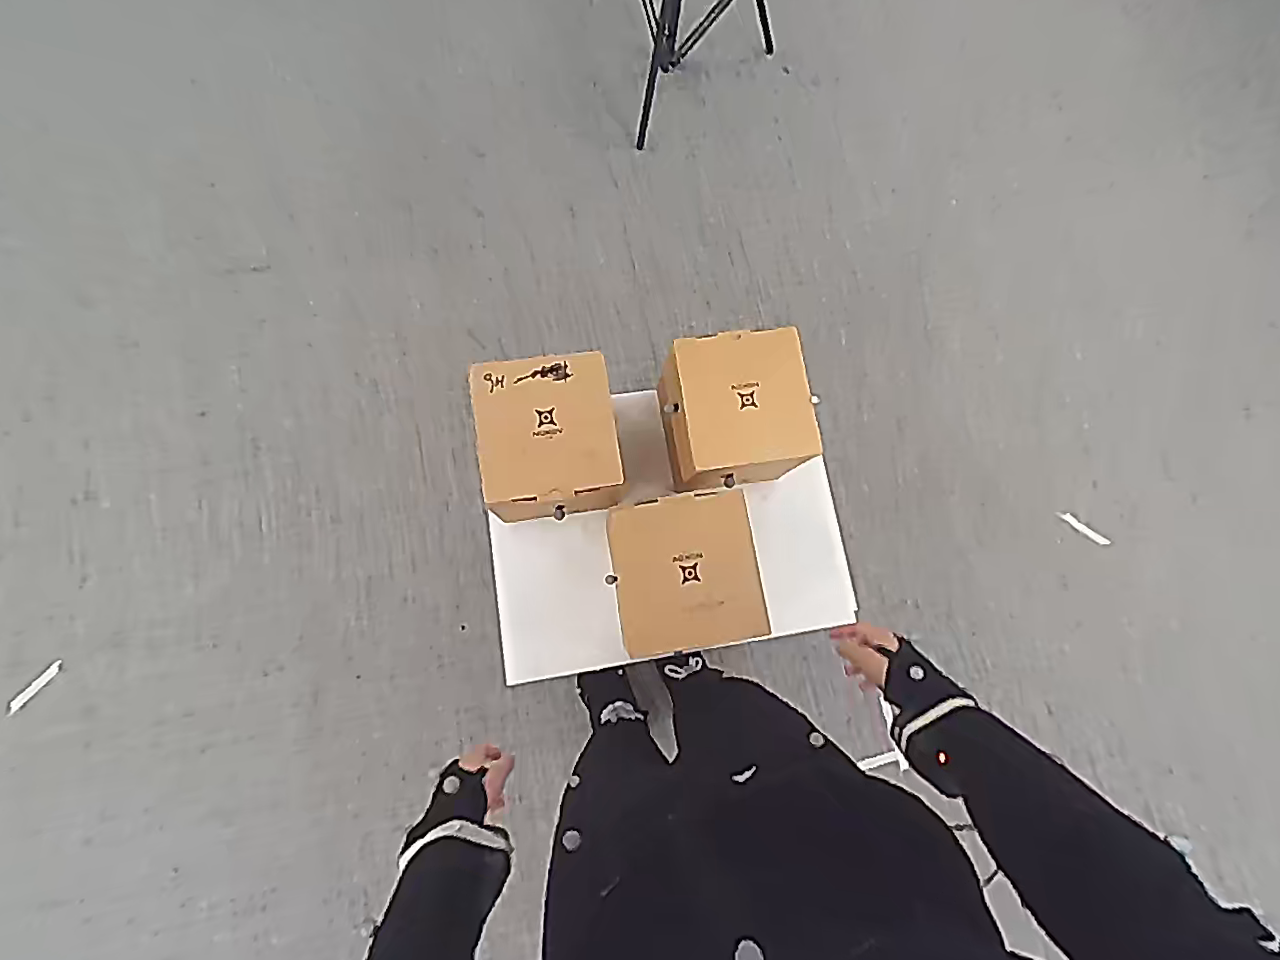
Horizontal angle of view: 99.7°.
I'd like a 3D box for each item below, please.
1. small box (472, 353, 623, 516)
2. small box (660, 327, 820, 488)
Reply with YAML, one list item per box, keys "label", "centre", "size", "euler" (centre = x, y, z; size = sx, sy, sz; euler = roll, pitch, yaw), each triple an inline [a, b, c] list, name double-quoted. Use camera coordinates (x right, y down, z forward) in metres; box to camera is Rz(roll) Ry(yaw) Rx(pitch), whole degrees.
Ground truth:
- label: "small box"
  centre: [-0.119, -0.050, 0.726]
  size: [0.168, 0.176, 0.179]
  euler: [-8, 81, -8]
- label: "small box"
  centre: [0.127, -0.090, 0.757]
  size: [0.168, 0.176, 0.179]
  euler: [-8, 79, -6]
